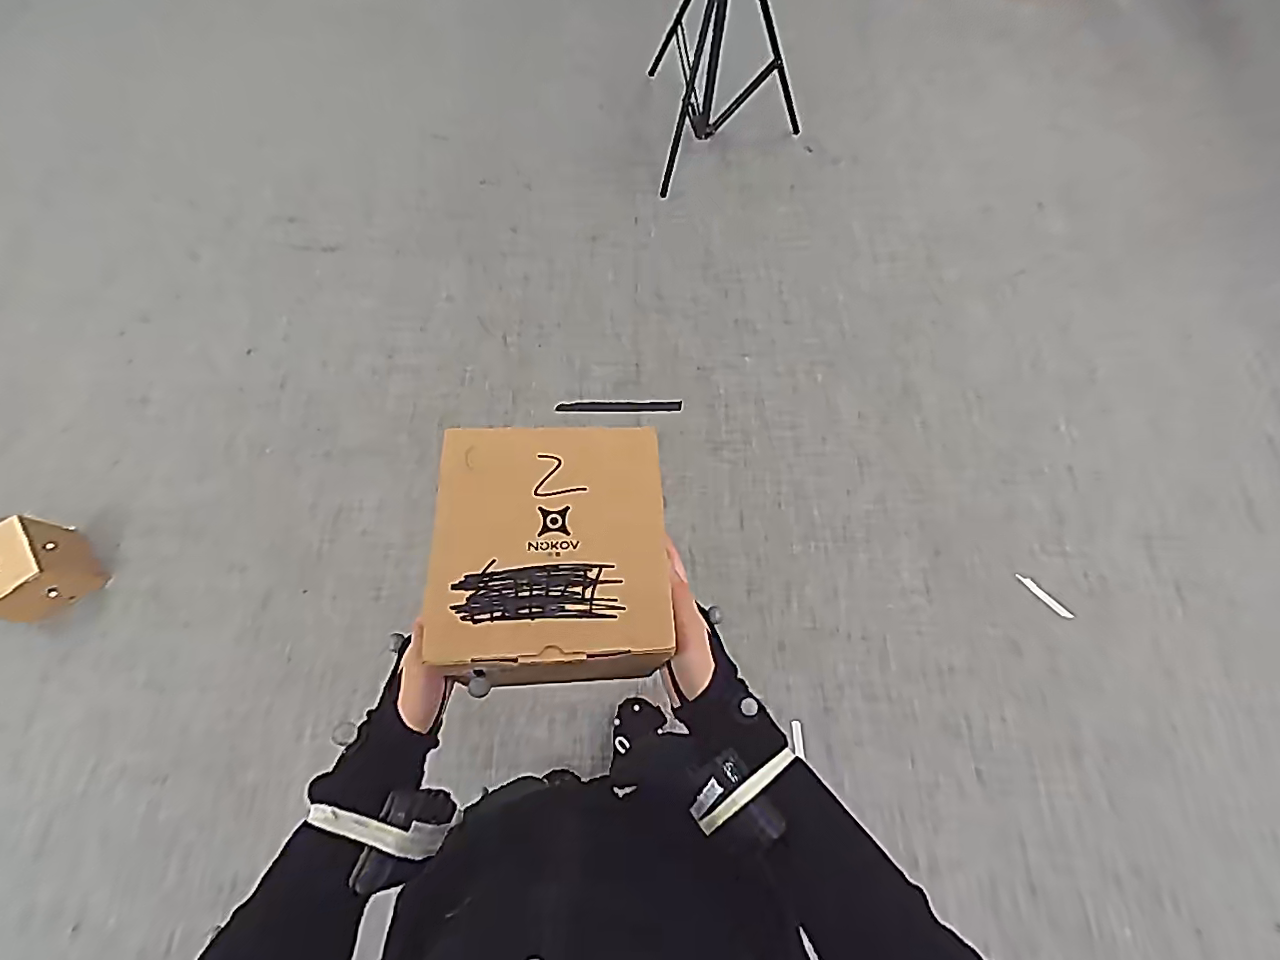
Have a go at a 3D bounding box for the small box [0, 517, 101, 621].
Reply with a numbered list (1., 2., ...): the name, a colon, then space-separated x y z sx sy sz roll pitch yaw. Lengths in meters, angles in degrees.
1. small box: -1.467 0.221 1.297 0.168 0.176 0.179 -35 74 -14
